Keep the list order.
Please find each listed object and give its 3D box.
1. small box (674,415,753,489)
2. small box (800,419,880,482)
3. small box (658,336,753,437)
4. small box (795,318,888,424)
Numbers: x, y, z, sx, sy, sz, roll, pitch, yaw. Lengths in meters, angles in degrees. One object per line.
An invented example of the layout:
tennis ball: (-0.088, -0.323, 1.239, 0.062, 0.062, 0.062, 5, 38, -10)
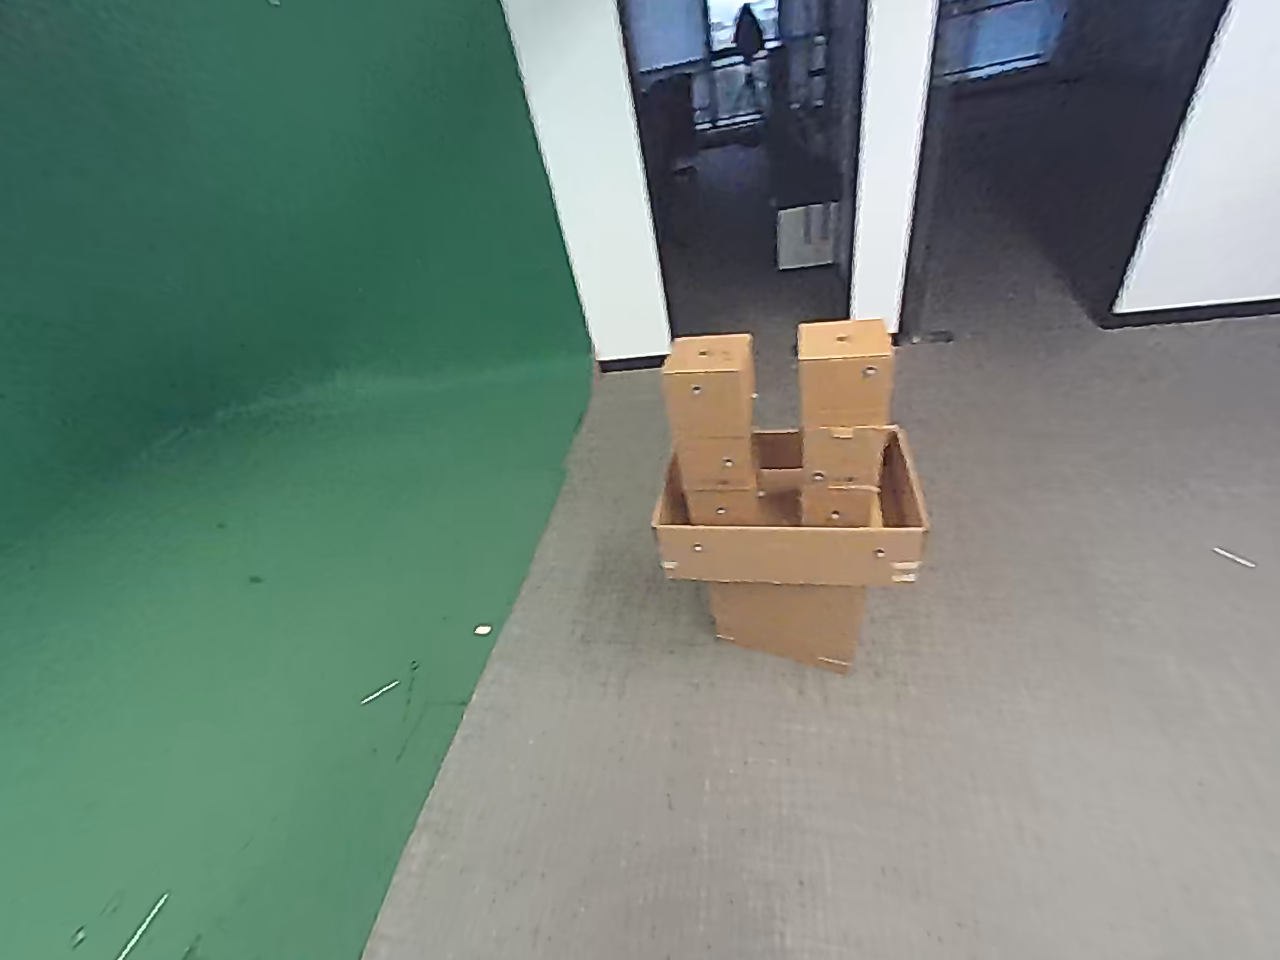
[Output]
small box: (0.191, -0.090, 1.339, 0.168, 0.176, 0.179, -1, 40, 16)
small box: (0.468, -0.107, 1.270, 0.168, 0.176, 0.179, 0, 40, 18)
small box: (0.156, -0.210, 1.232, 0.179, 0.176, 0.168, 1, 42, 18)
small box: (0.431, -0.232, 1.171, 0.179, 0.176, 0.168, 0, 41, 17)
